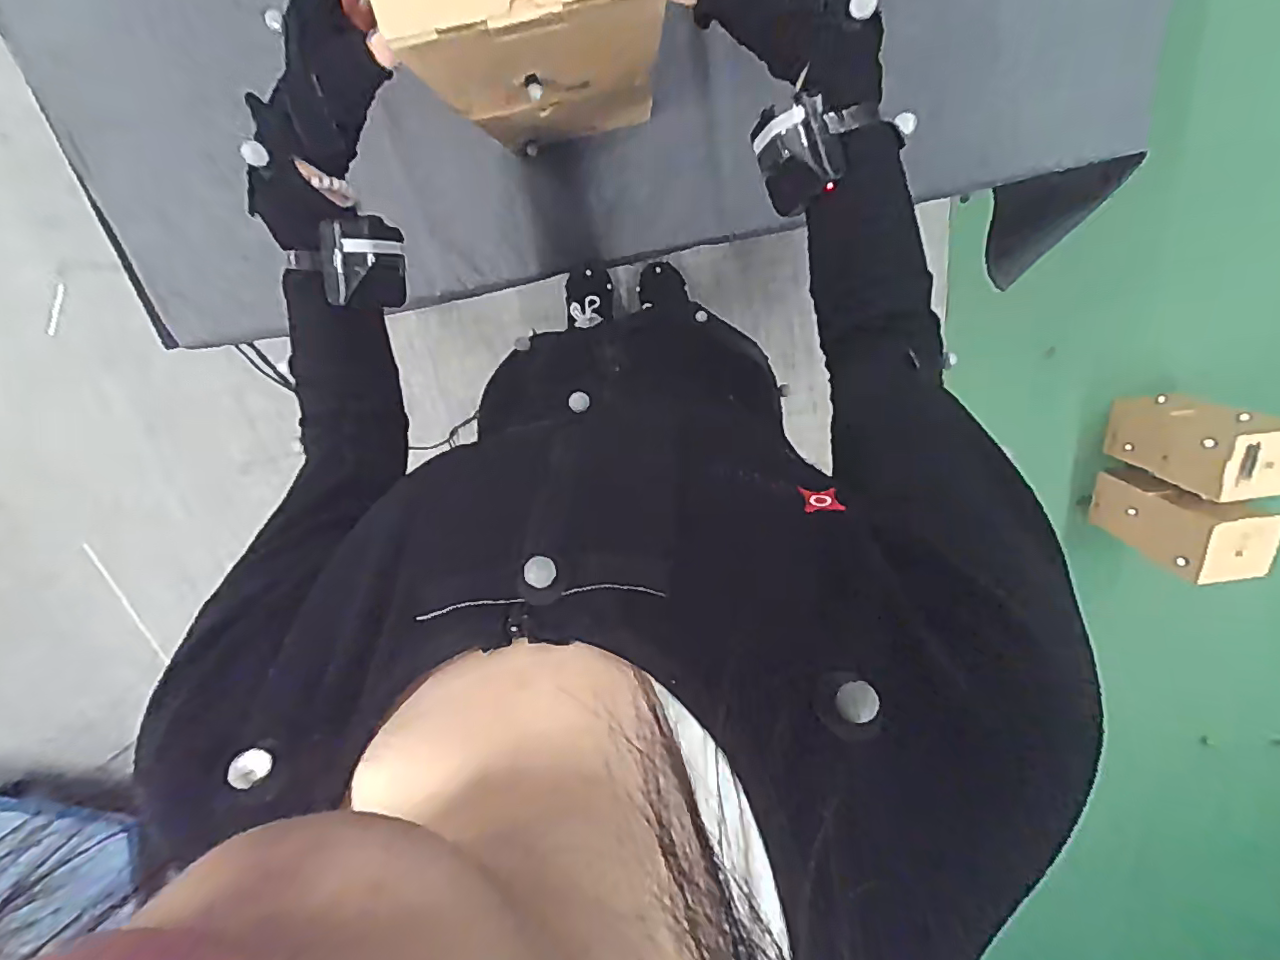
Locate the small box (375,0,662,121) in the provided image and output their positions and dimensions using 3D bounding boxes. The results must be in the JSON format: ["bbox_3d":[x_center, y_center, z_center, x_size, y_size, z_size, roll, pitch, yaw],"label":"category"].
[{"bbox_3d":[-0.084,-0.371,0.357,0.168,0.176,0.179,-11,112,3],"label":"small box"}]

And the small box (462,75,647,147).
[{"bbox_3d":[-0.087,-0.433,0.507,0.168,0.176,0.179,-11,111,4],"label":"small box"}]

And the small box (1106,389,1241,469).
[{"bbox_3d":[1.401,-0.139,1.435,0.179,0.176,0.168,-6,113,2],"label":"small box"}]
